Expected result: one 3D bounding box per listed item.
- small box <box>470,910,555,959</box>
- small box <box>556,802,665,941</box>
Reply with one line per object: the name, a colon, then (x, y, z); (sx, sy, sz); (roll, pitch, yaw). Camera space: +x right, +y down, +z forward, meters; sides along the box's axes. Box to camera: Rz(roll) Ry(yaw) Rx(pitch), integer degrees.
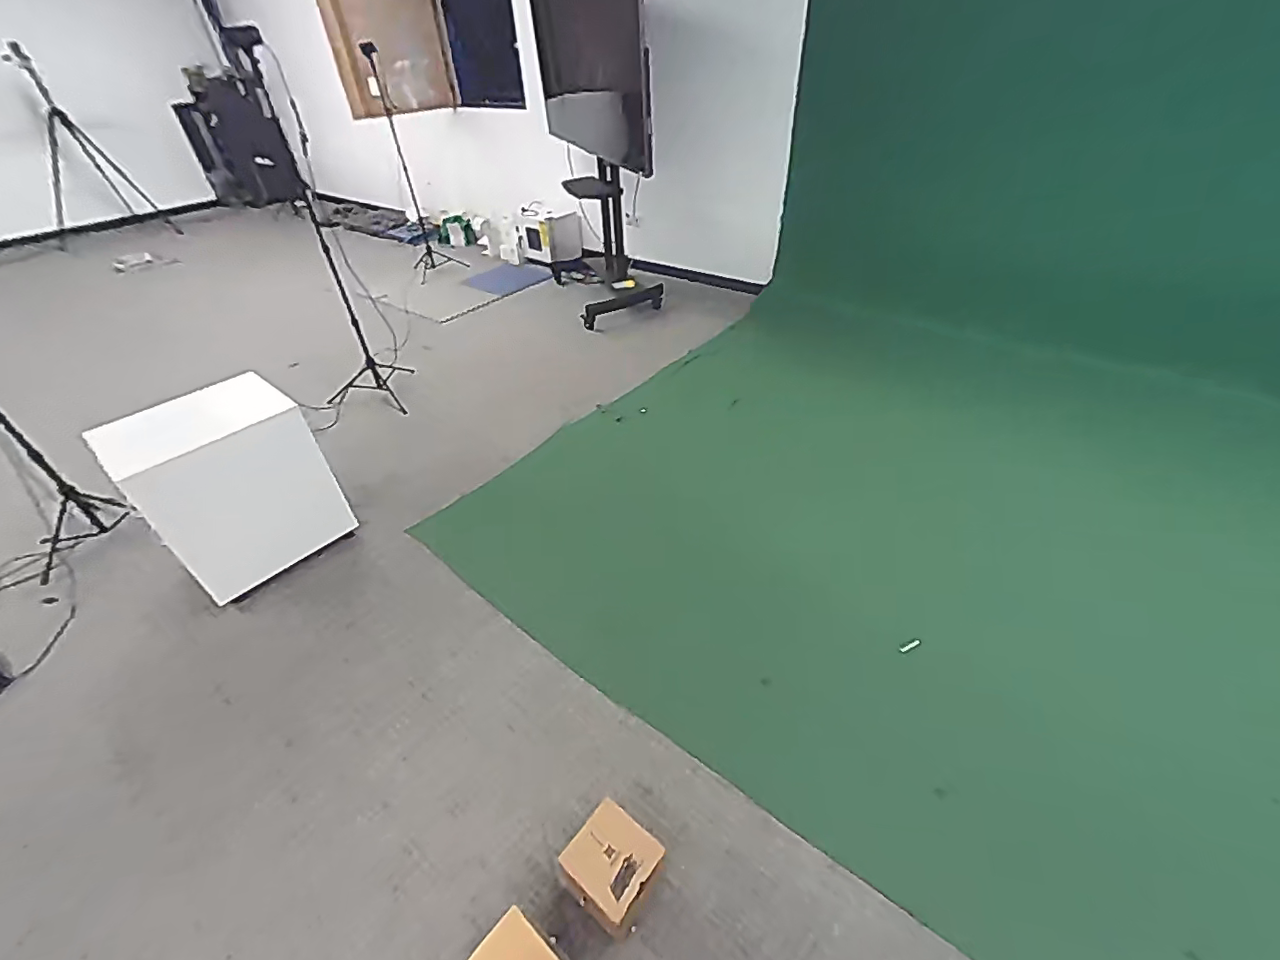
small box: (-0.241, 0.995, 1.042); (0.179, 0.176, 0.168); (27, 47, 31)
small box: (-0.060, 0.867, 1.194); (0.179, 0.176, 0.168); (26, 46, 31)
